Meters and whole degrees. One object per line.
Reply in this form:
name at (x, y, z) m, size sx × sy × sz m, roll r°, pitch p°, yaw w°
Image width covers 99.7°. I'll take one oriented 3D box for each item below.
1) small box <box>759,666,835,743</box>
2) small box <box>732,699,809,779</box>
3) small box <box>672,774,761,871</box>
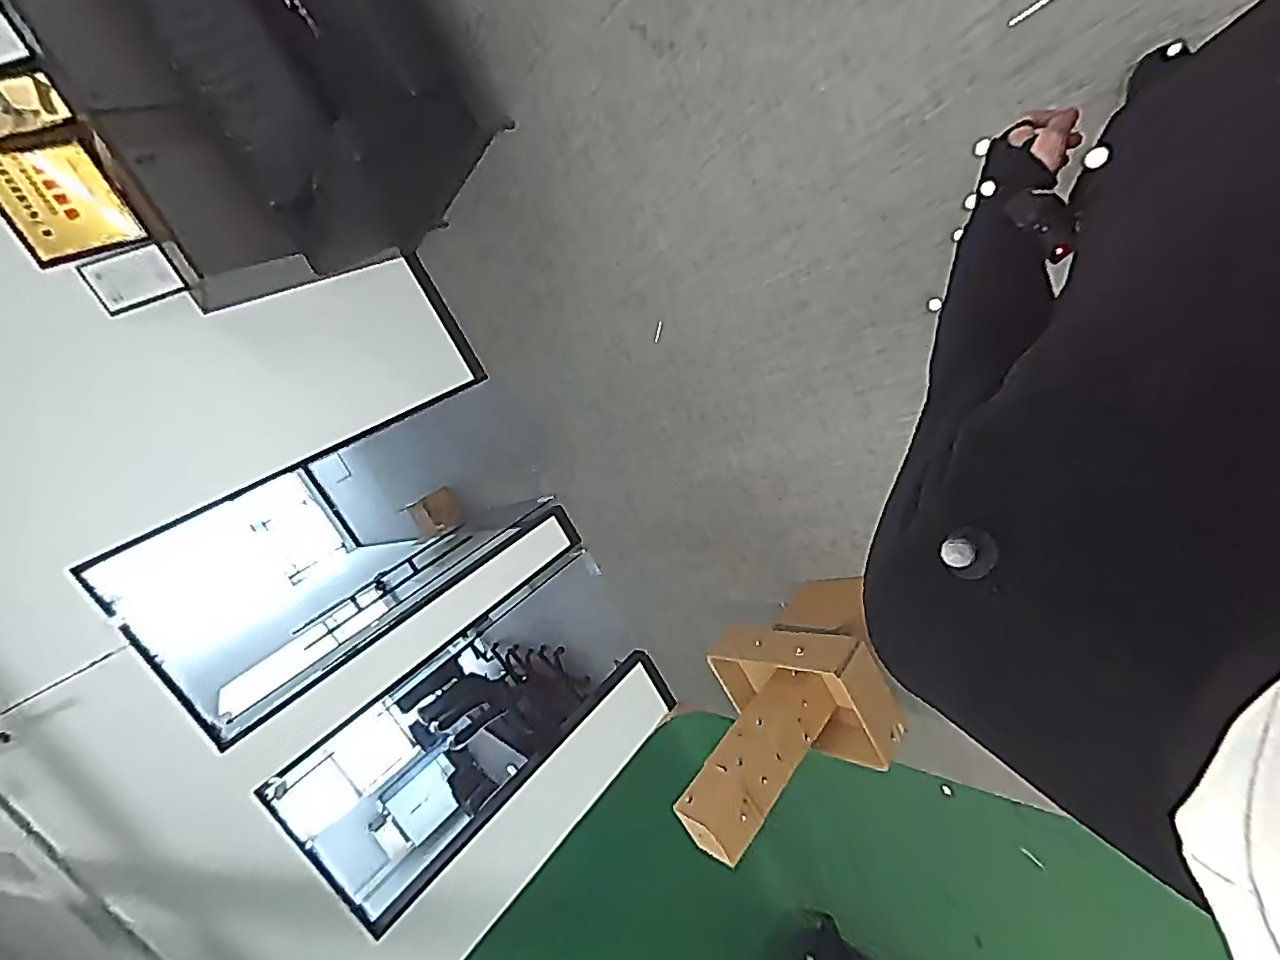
small box at (0.571, 0.806, 1.956) m, size 0.168 × 0.176 × 0.179 m, roll -17°, pitch 106°, yaw 55°
small box at (0.458, 0.886, 1.869) m, size 0.179 × 0.176 × 0.168 m, roll -15°, pitch 108°, yaw 55°
small box at (0.241, 1.057, 1.689) m, size 0.179 × 0.176 × 0.168 m, roll -18°, pitch 106°, yaw 55°
